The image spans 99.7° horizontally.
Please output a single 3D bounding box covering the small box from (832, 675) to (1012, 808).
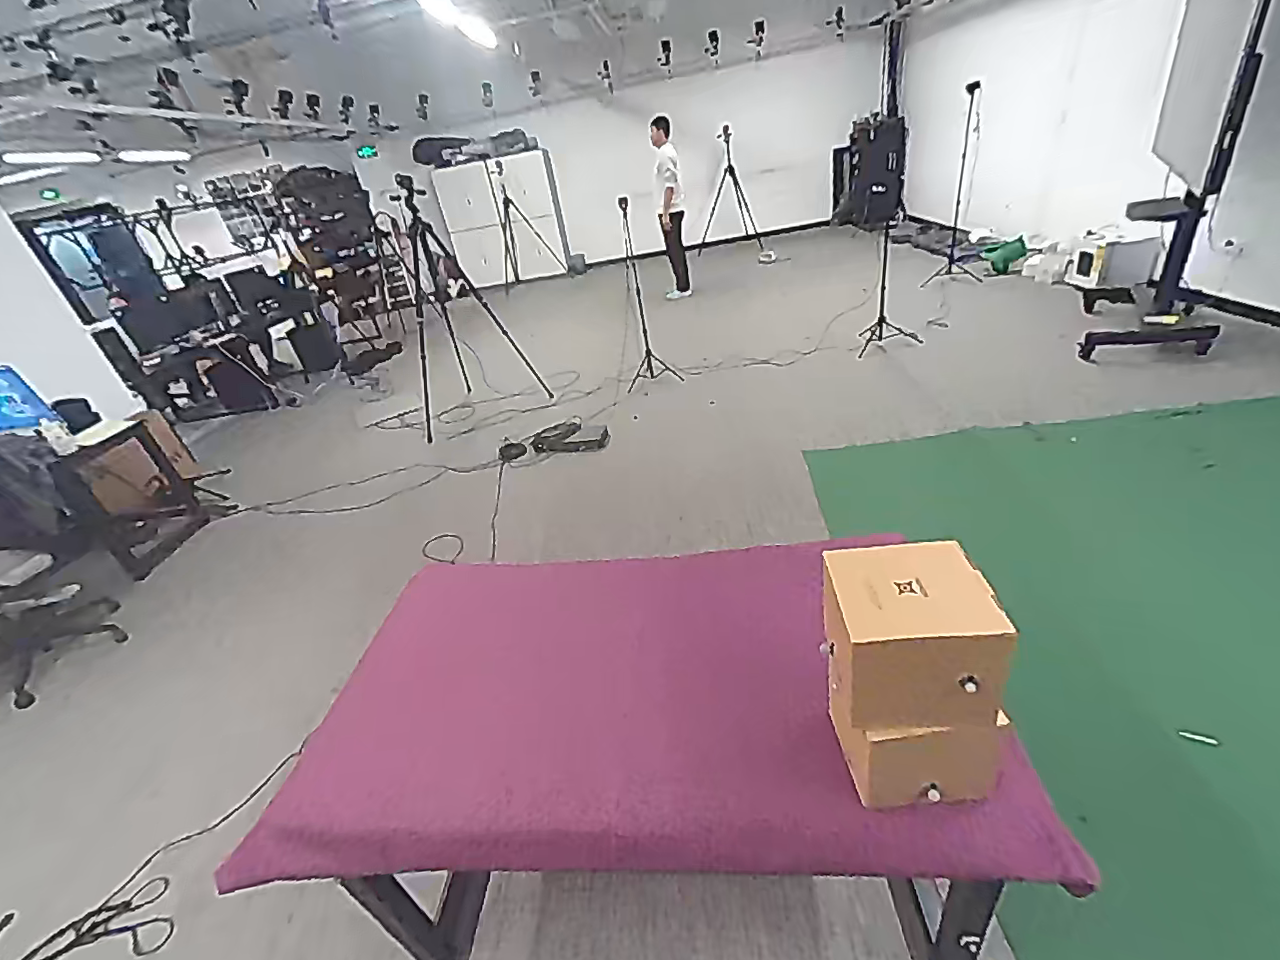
[{"bbox_3d":[0.386,0.341,0.778,0.179,0.176,0.168,-9,30,5],"label":"small box"}]

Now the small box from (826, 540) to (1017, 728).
[{"bbox_3d":[0.345,0.200,0.703,0.179,0.176,0.168,-7,31,11],"label":"small box"}]
